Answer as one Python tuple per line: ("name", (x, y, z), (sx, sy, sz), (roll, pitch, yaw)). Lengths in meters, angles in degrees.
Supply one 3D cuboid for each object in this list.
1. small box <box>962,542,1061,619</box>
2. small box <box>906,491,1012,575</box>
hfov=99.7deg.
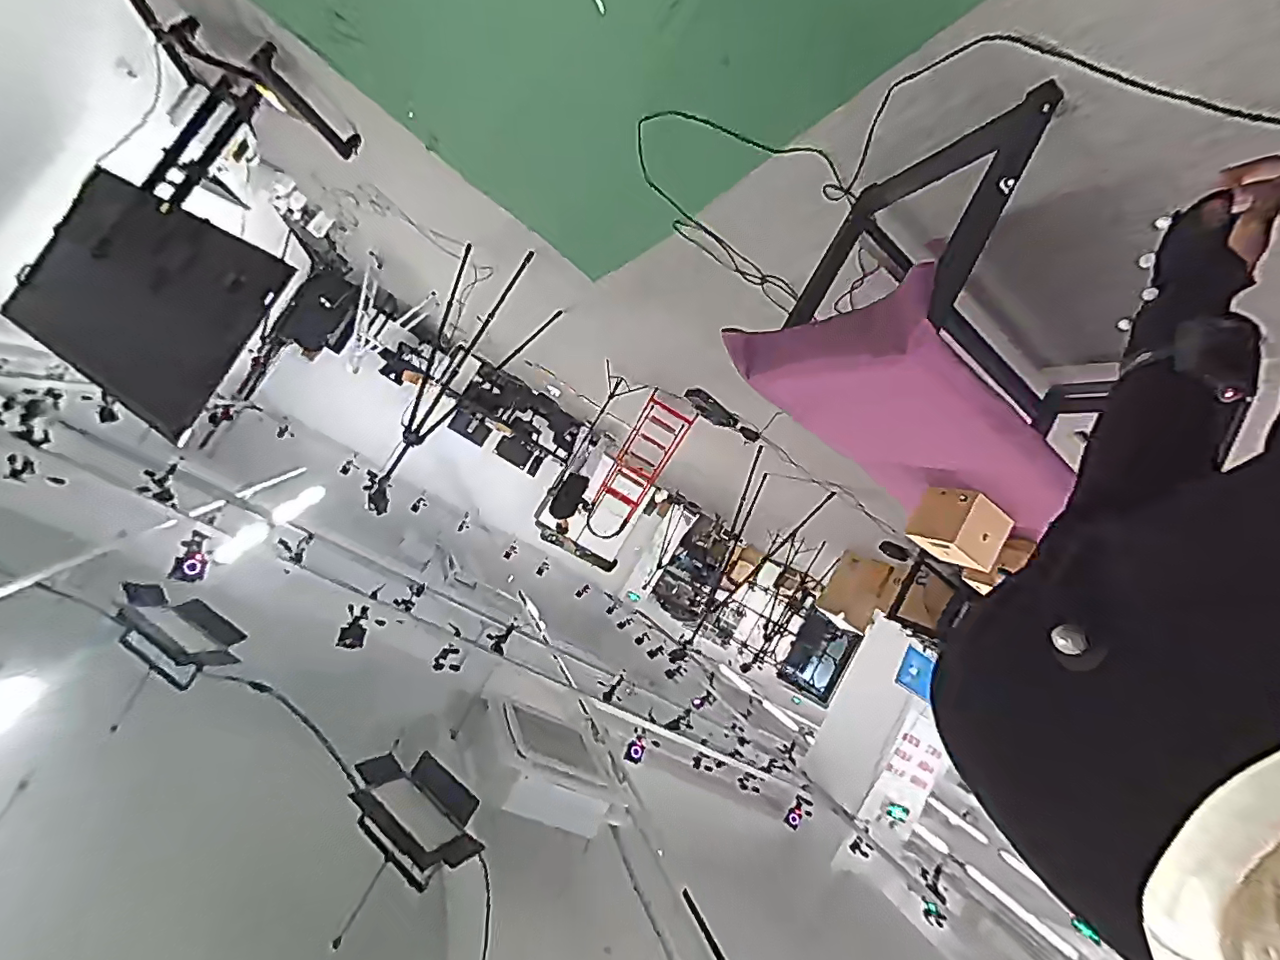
("small box", (1.147, 0.297, 1.660), (0.168, 0.176, 0.179), (34, 172, -19))
("small box", (0.919, 0.147, 1.557), (0.179, 0.176, 0.168), (32, 174, -20))
